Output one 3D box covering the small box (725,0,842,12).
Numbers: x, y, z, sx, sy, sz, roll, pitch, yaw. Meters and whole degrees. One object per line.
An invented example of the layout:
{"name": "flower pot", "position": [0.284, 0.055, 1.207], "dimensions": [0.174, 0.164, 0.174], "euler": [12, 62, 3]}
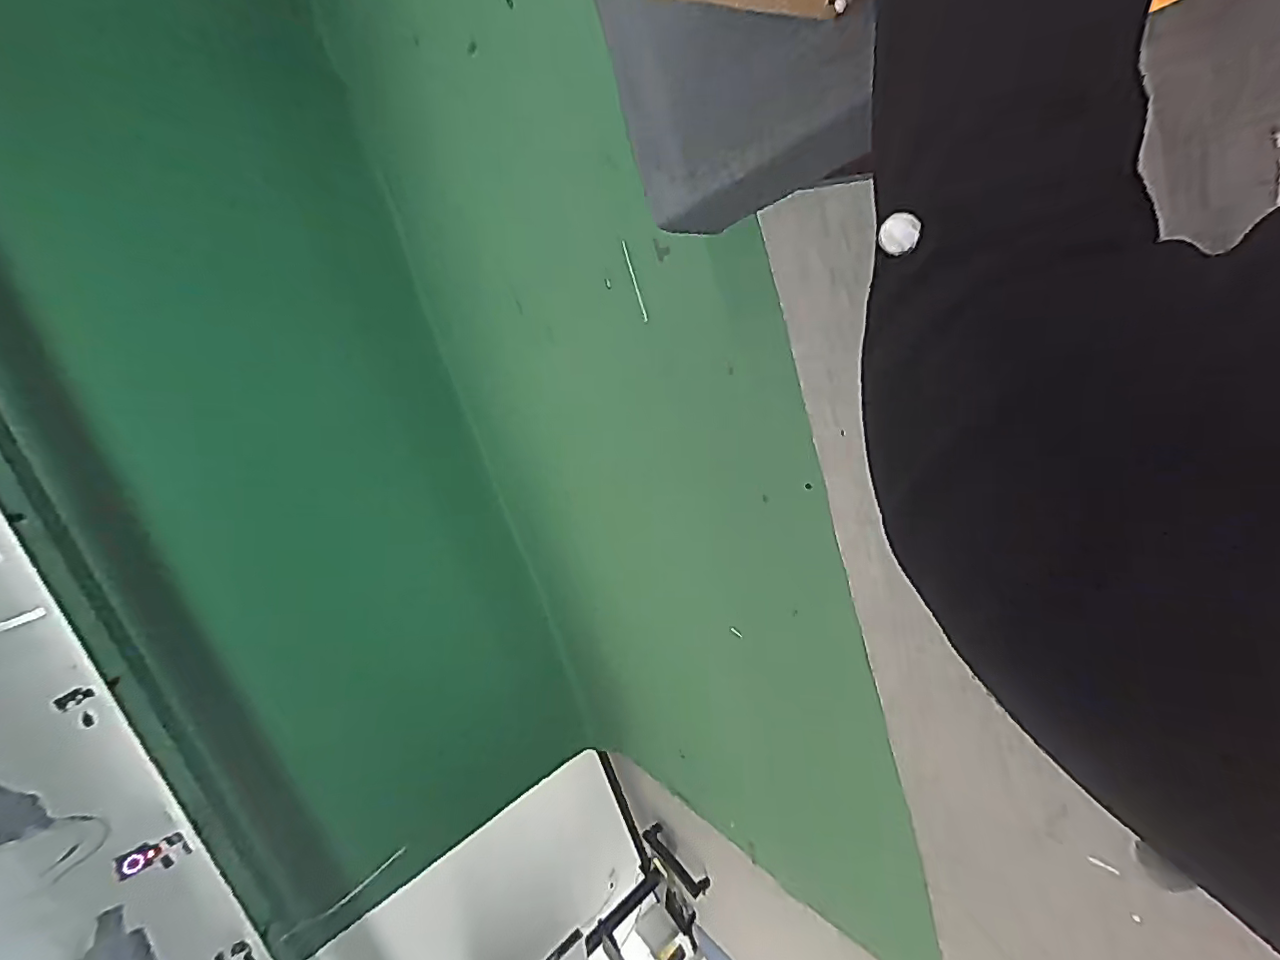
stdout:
{"name": "small box", "position": [0.163, -0.562, 0.477], "dimensions": [0.168, 0.176, 0.179], "euler": [-5, 106, 56]}
